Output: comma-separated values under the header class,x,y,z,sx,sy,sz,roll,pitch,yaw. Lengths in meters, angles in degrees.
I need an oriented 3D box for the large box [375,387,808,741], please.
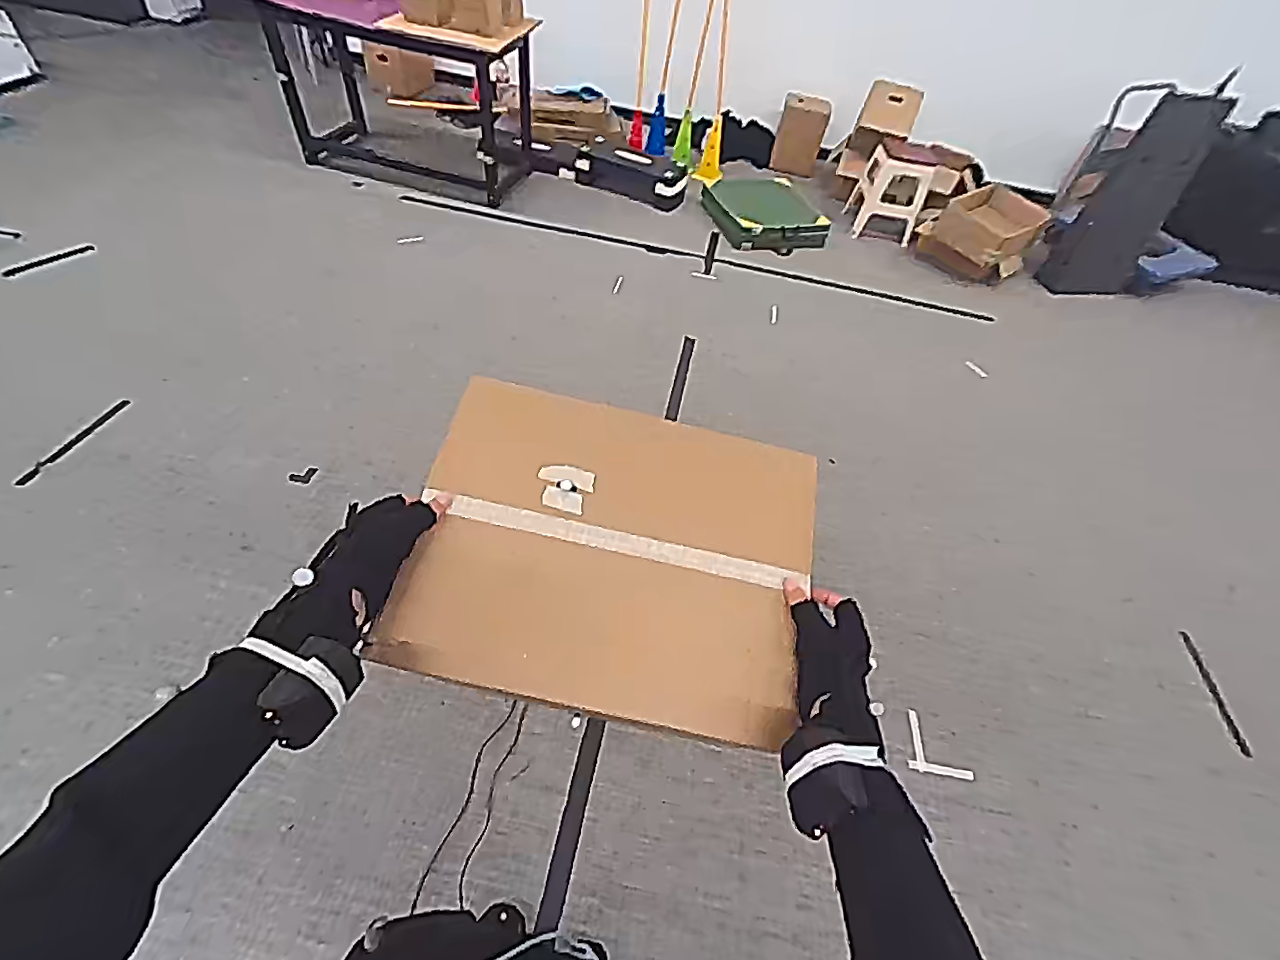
class,x,y,z,sx,sy,sz,roll,pitch,yaw
large box,-0.038,0.127,0.696,0.408,0.320,0.320,13,65,-1
